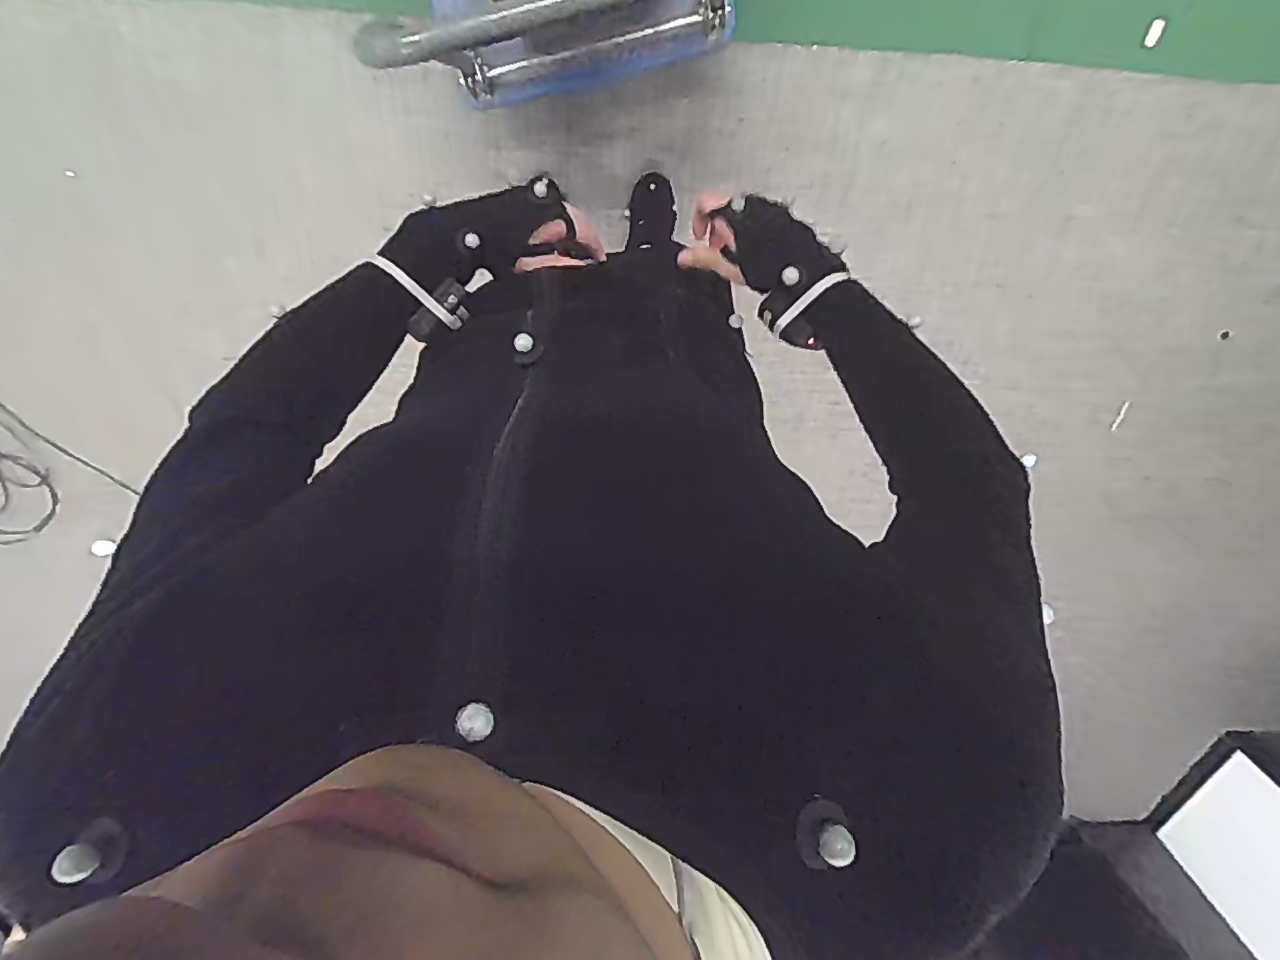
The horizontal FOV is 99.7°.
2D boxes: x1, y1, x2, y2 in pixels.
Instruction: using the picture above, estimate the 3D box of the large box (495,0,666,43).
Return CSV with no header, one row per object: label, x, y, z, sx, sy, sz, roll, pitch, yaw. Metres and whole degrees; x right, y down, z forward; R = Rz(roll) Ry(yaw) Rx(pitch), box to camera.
large box,-0.124,-0.996,0.841,0.320,0.320,0.408,-11,119,5
